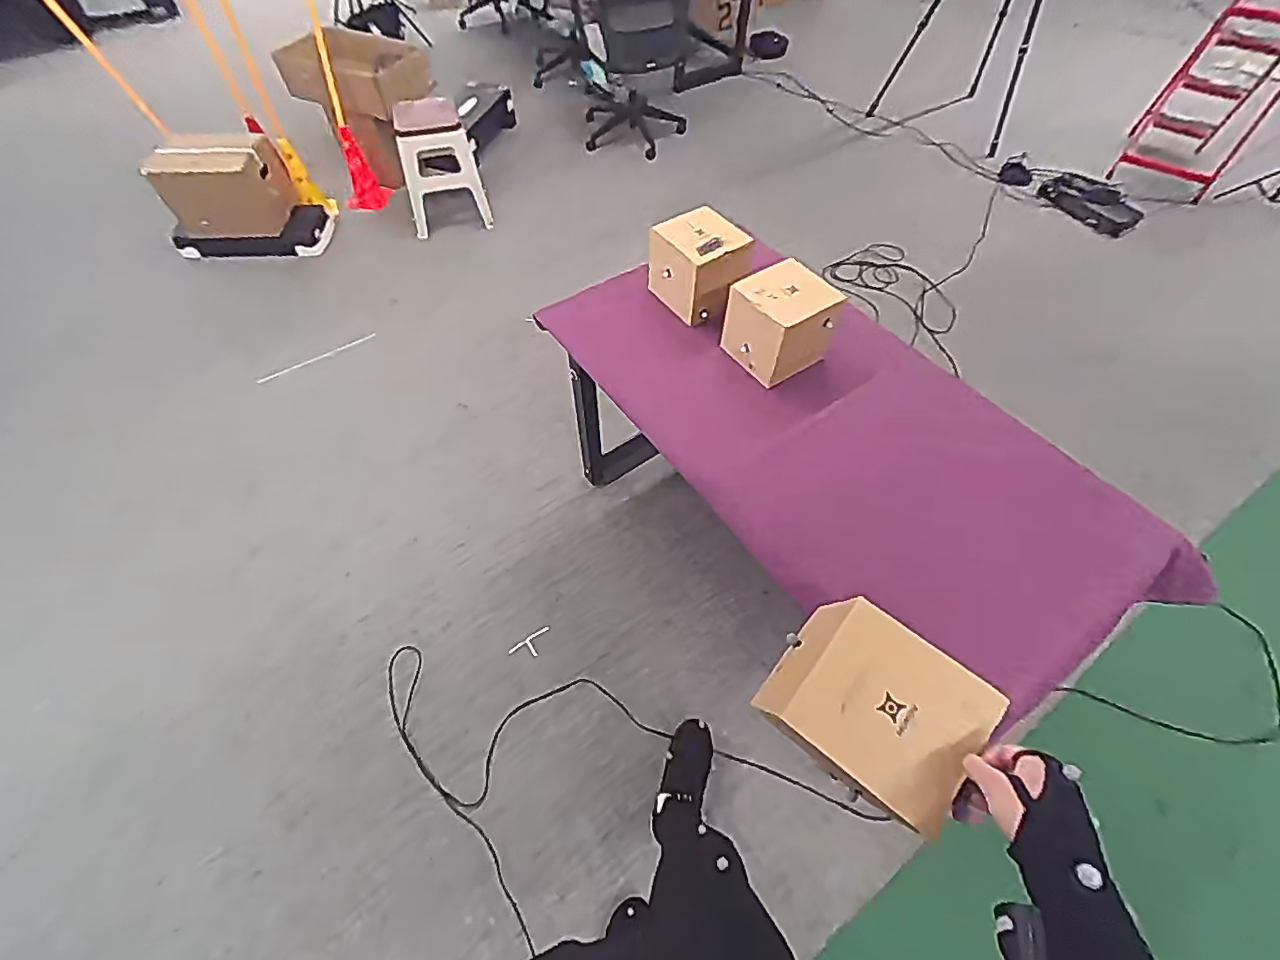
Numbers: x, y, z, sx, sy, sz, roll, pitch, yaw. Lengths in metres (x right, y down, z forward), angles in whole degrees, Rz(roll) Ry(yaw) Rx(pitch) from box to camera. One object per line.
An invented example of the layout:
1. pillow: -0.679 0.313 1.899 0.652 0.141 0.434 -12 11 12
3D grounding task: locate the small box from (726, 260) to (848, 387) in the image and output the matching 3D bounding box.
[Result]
1. small box: 0.305 -0.334 1.164 0.179 0.176 0.168 -30 61 -18

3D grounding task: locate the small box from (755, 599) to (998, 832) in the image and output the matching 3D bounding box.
1. small box: 0.265 0.264 0.647 0.179 0.176 0.168 38 75 11

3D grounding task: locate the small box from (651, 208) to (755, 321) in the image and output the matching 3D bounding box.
1. small box: 0.140 -0.498 1.271 0.168 0.176 0.179 -30 61 -19
